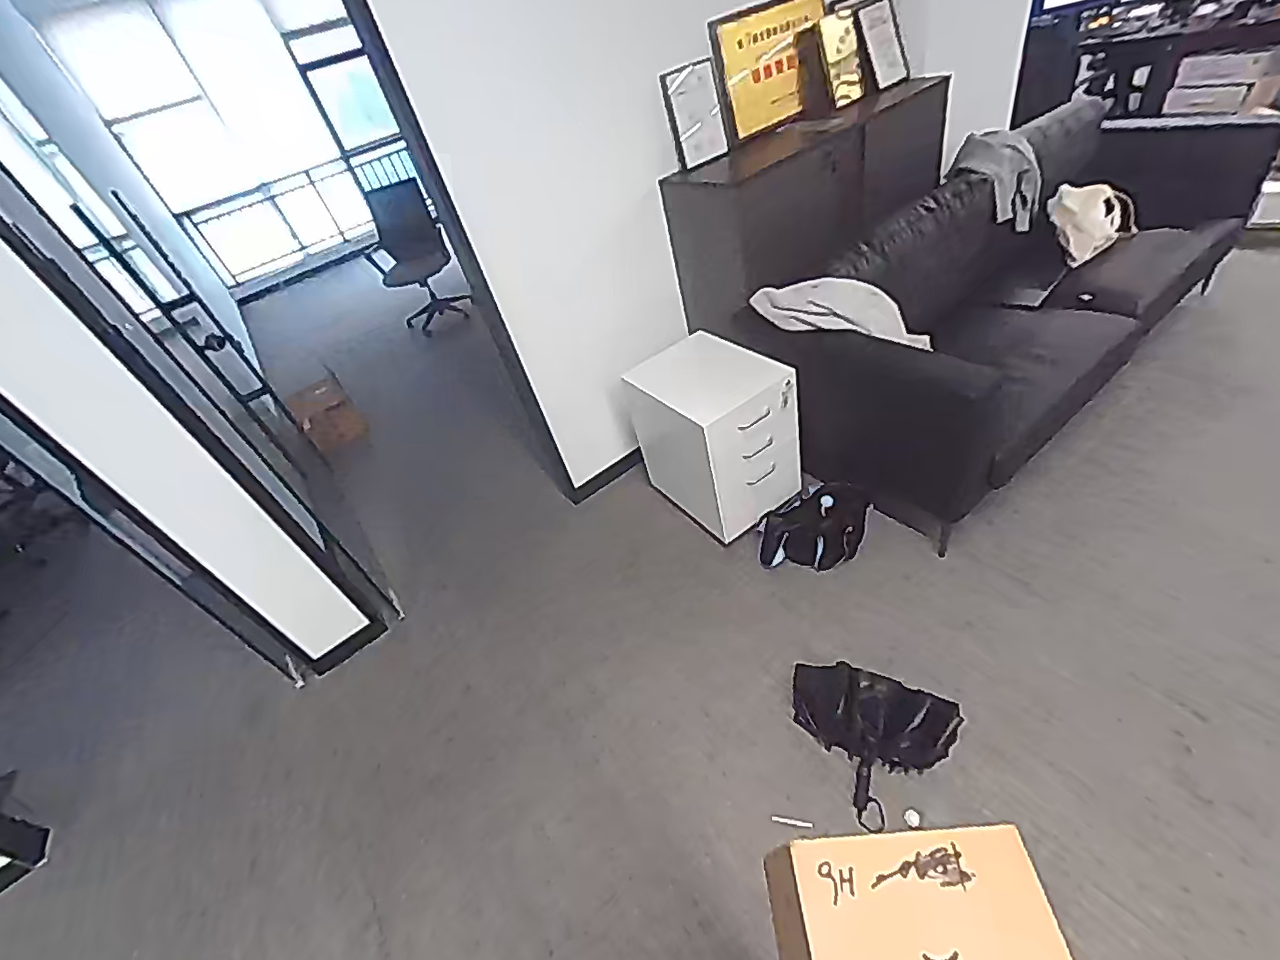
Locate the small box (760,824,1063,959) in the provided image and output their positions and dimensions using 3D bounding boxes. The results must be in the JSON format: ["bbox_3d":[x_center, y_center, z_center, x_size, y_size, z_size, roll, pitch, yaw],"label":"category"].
[{"bbox_3d":[0.191,0.367,0.398,0.168,0.176,0.179,-4,52,1],"label":"small box"}]
